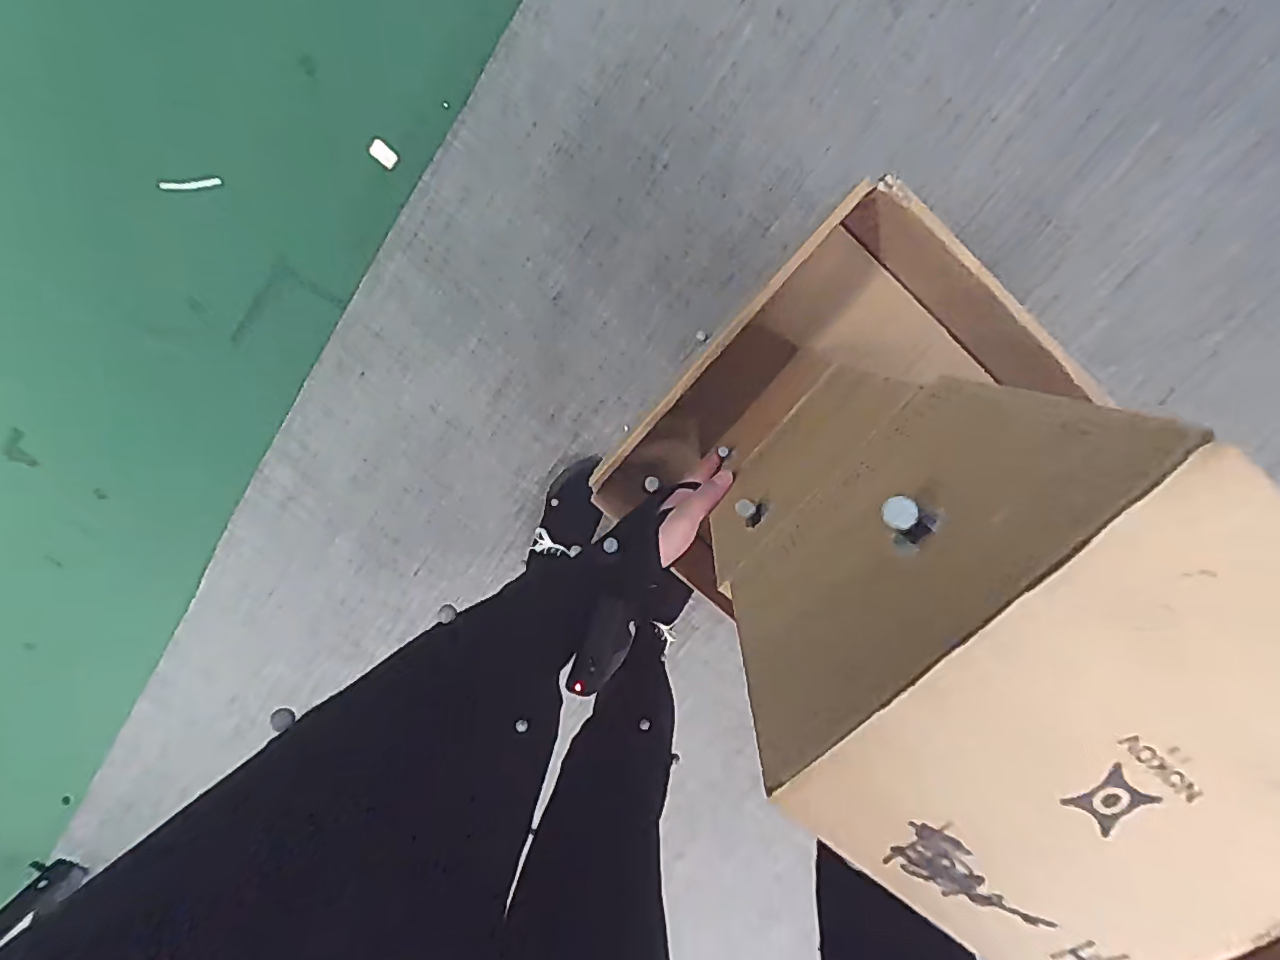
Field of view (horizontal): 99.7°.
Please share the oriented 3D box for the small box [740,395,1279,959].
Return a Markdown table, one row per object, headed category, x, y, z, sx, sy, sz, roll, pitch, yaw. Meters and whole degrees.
| category | x | y | z | sx | sy | sz | roll | pitch | yaw |
| --- | --- | --- | --- | --- | --- | --- | --- | --- | --- |
| small box | 0.163 | 0.078 | 0.255 | 0.168 | 0.176 | 0.179 | 39 | 105 | -6 |
